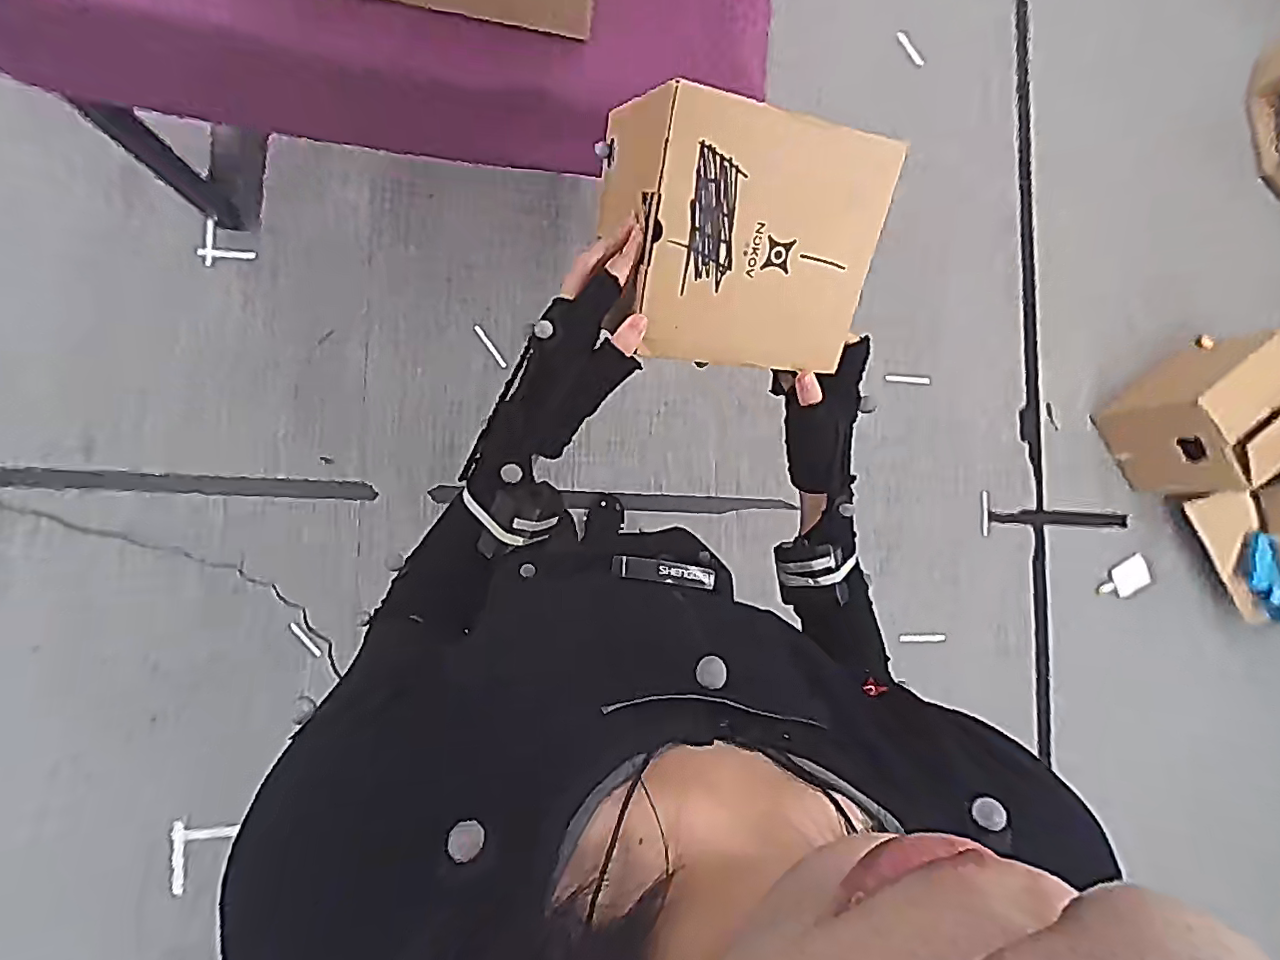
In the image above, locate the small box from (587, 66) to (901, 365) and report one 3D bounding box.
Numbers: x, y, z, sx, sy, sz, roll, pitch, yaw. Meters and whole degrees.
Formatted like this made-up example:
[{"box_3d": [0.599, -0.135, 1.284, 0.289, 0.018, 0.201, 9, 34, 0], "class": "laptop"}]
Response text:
[{"box_3d": [0.061, -0.201, 0.440, 0.179, 0.176, 0.168, 0, 117, -20], "class": "small box"}]
